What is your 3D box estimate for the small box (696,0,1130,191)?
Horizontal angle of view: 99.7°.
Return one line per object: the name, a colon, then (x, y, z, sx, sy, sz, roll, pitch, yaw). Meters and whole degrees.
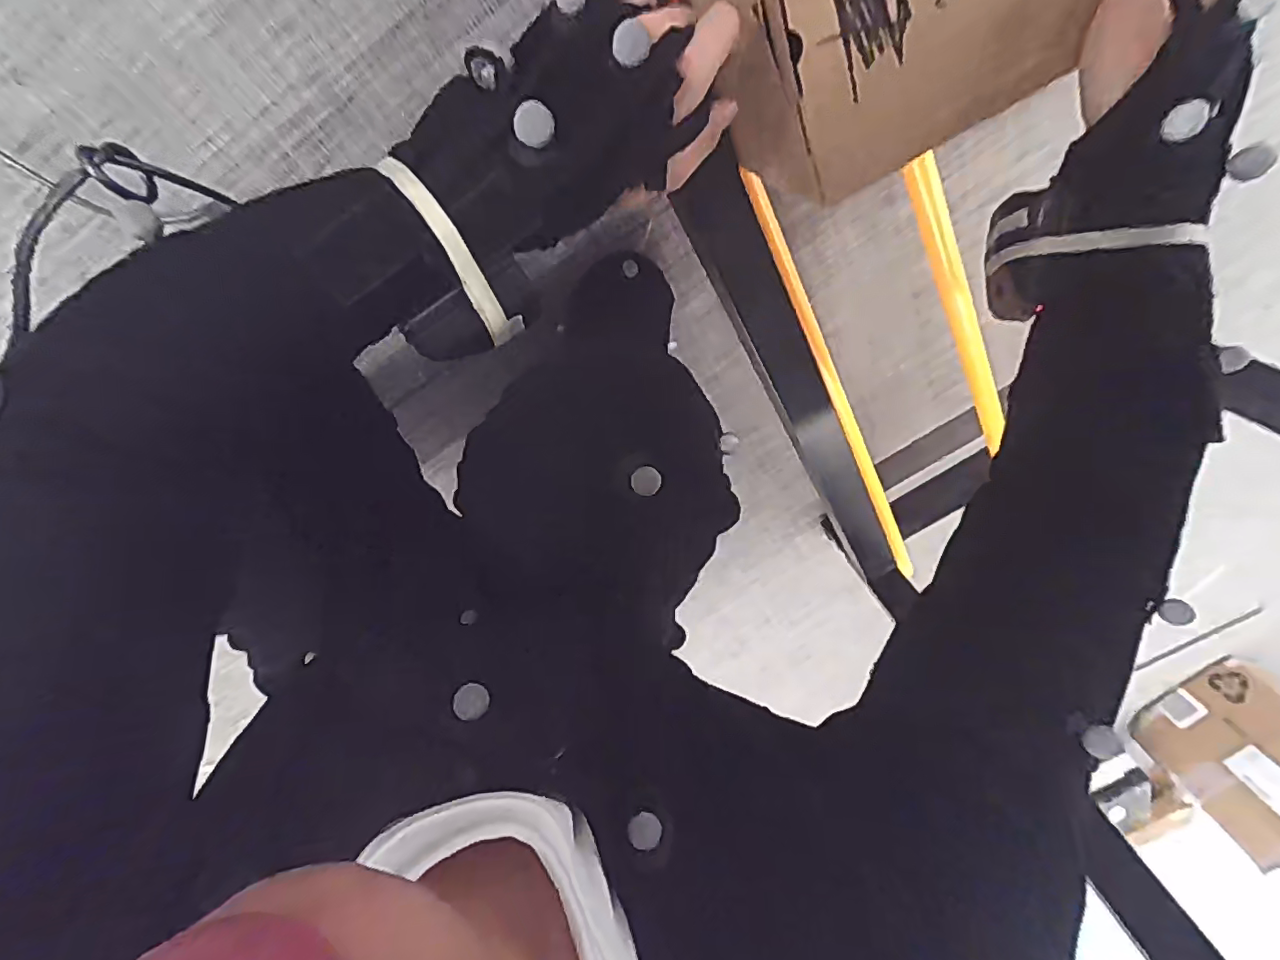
small box: (0.134, -0.302, 0.311, 0.179, 0.176, 0.168, -28, 130, 6)
